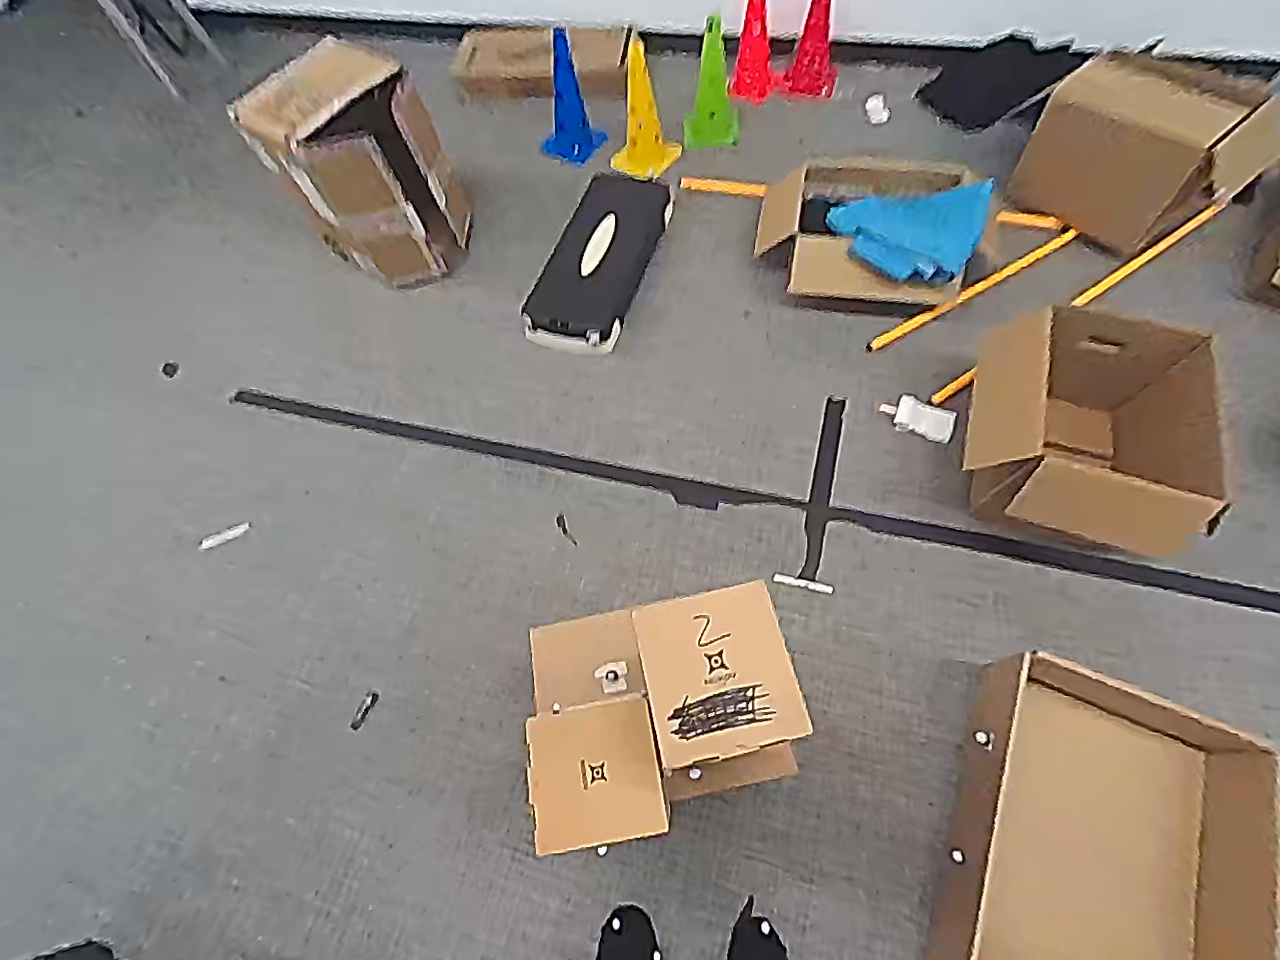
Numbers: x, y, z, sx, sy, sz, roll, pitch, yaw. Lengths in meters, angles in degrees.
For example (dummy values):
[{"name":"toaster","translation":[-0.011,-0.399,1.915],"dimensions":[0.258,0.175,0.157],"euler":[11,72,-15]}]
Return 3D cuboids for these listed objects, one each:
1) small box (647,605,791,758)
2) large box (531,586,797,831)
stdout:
[{"name":"small box","translation":[0.112,0.311,0.827],"dimensions":[0.168,0.176,0.179],"euler":[-14,65,0]},{"name":"large box","translation":[0.042,0.433,1.049],"dimensions":[0.408,0.320,0.320],"euler":[-13,63,0]}]
